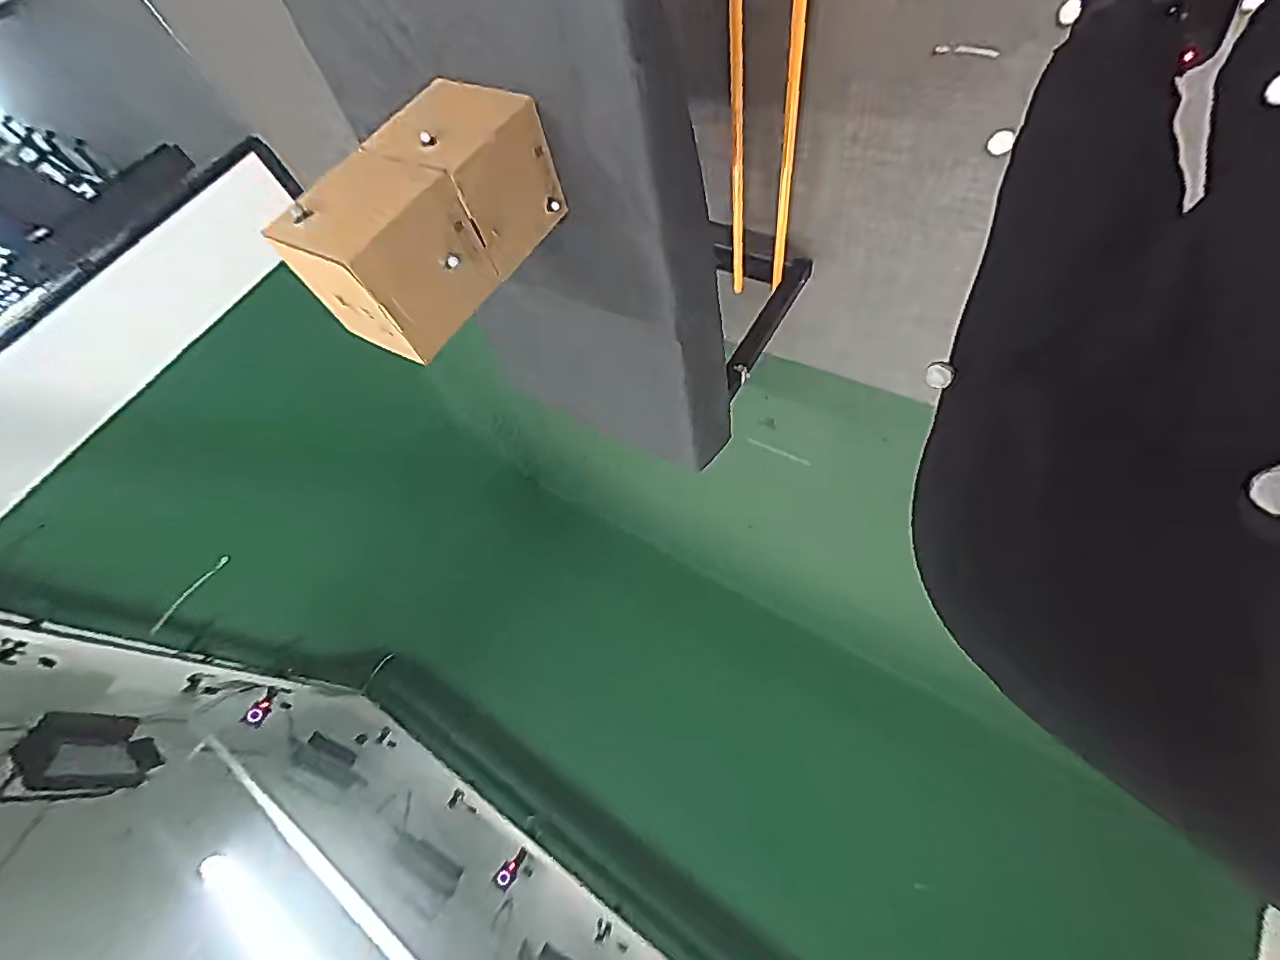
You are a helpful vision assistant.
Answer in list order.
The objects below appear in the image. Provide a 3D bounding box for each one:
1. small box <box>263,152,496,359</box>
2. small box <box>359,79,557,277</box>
[{"bbox_3d":[-0.327,-0.296,0.709,0.179,0.176,0.168,25,161,24],"label":"small box"},{"bbox_3d":[-0.238,-0.425,0.761,0.179,0.176,0.168,27,160,22],"label":"small box"}]
